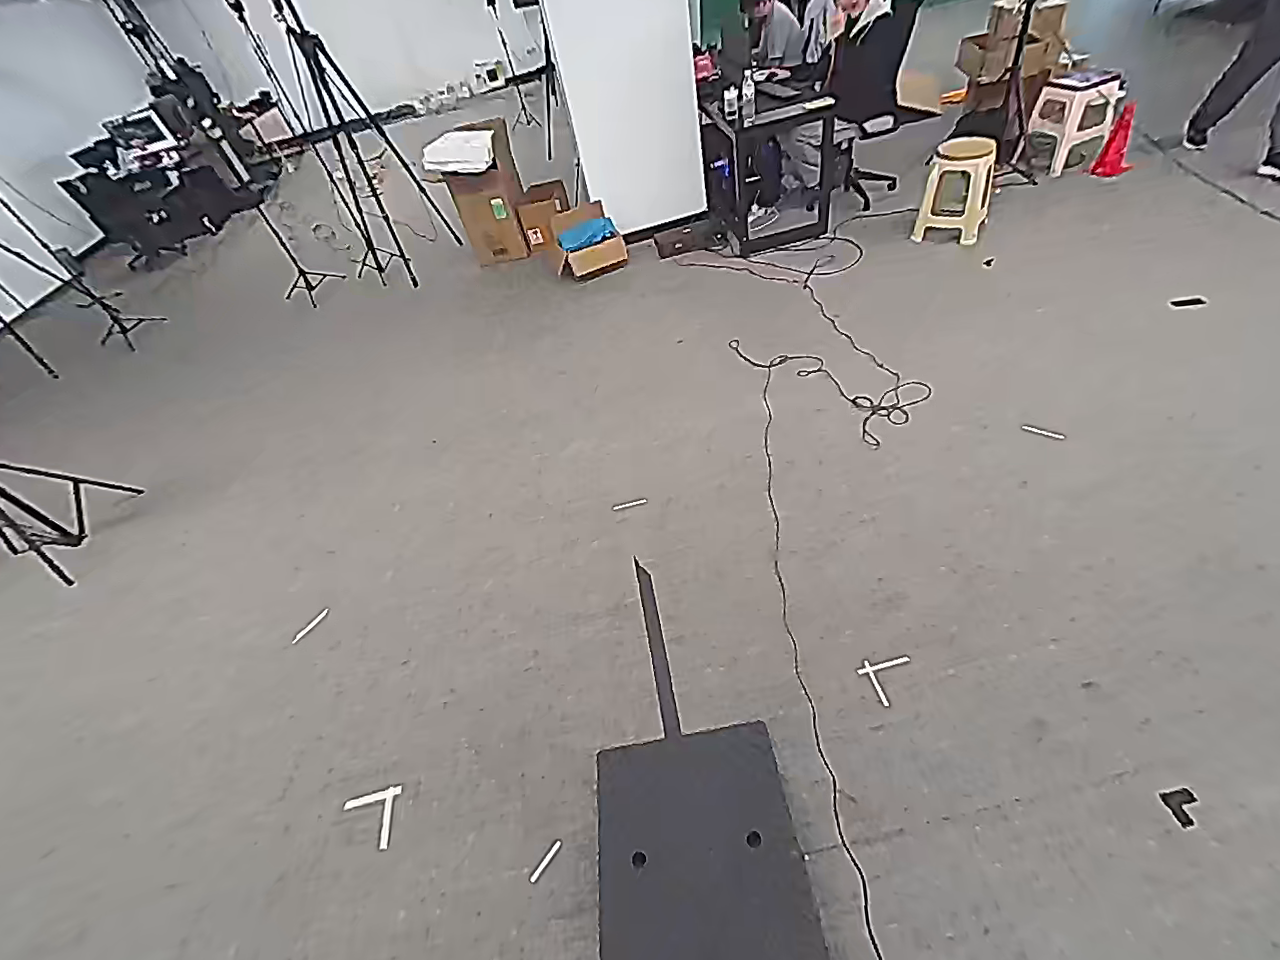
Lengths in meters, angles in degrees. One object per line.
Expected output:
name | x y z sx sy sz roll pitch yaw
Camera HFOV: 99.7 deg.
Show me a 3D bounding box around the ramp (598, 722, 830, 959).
ramp | 0.151 1.021 1.142 0.509 0.206 0.991 -14 44 3
